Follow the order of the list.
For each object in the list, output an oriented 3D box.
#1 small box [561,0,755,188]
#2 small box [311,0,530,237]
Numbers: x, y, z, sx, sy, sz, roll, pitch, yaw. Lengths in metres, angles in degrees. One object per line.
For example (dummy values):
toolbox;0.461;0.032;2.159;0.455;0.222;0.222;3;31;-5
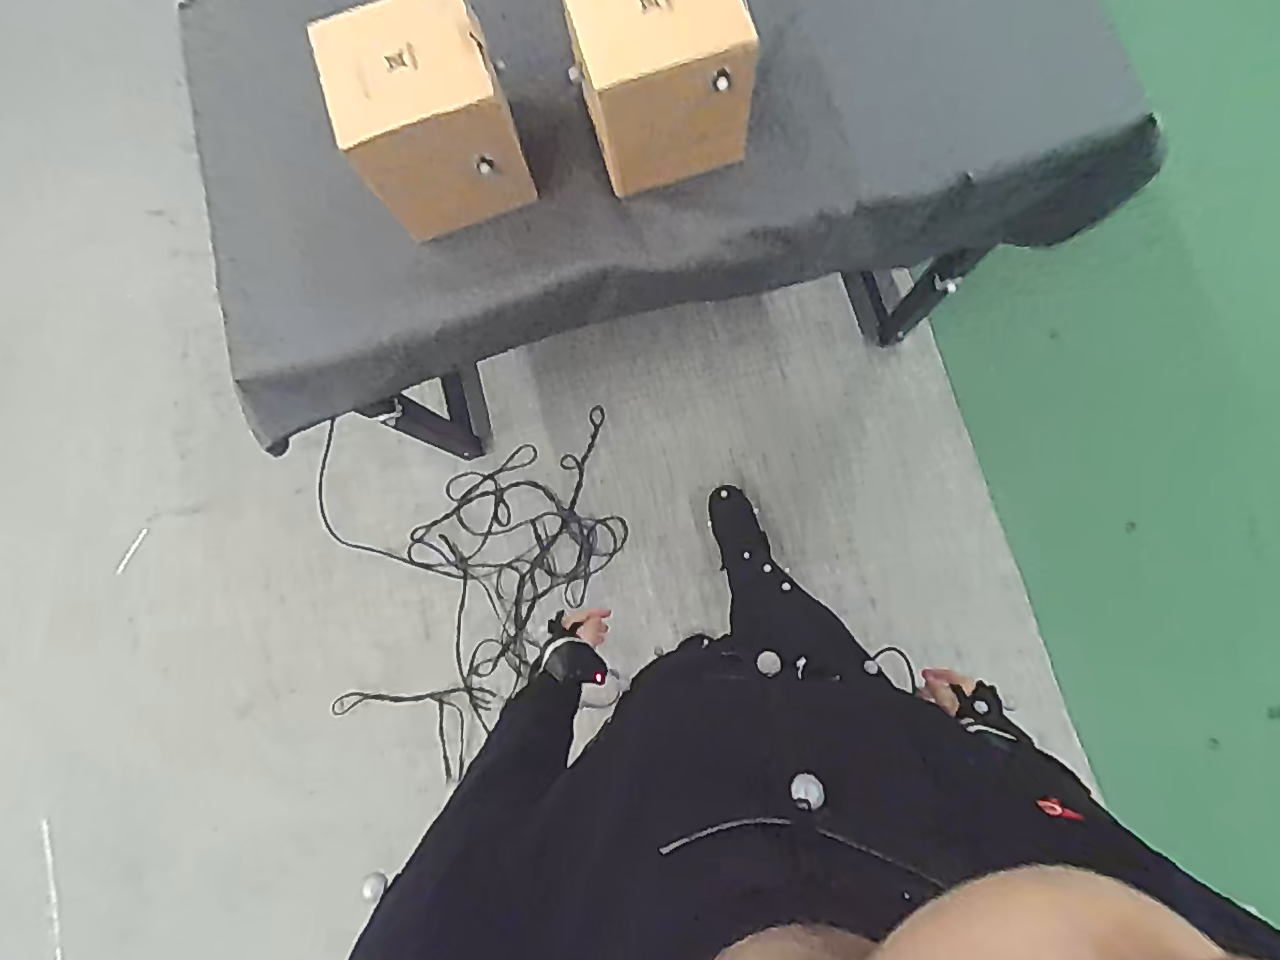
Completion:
small box;0.020;-0.484;0.636;0.179;0.176;0.168;-17;80;2
small box;-0.245;-0.432;0.649;0.179;0.176;0.168;-19;79;2
